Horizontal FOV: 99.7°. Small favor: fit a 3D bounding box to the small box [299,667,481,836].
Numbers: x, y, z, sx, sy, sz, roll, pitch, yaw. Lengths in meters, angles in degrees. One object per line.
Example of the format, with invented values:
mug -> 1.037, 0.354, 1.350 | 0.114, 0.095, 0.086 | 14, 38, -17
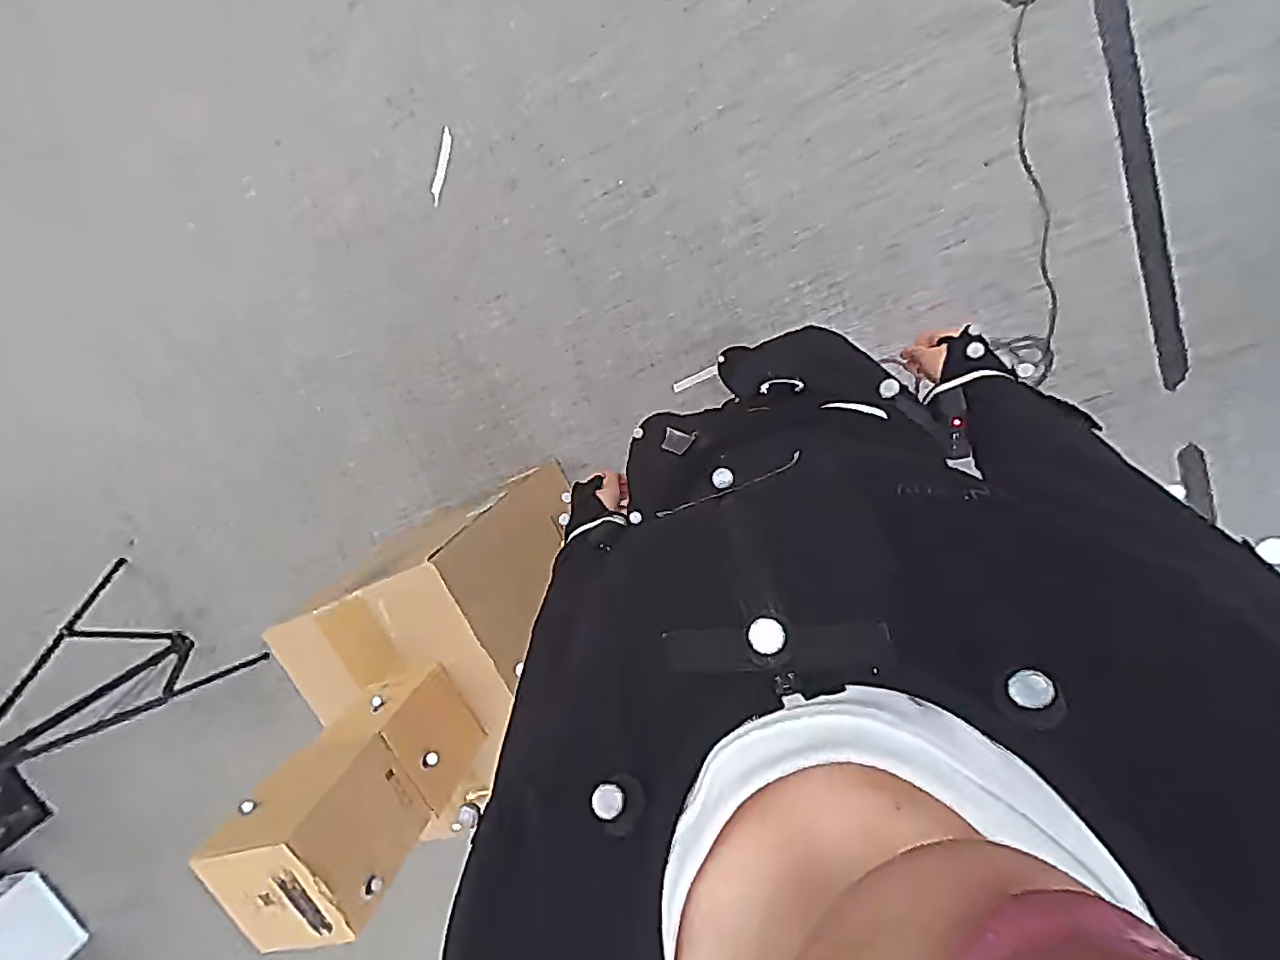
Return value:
small box -> -0.397, 0.433, 0.889 | 0.168, 0.176, 0.179 | -23, 104, 16
